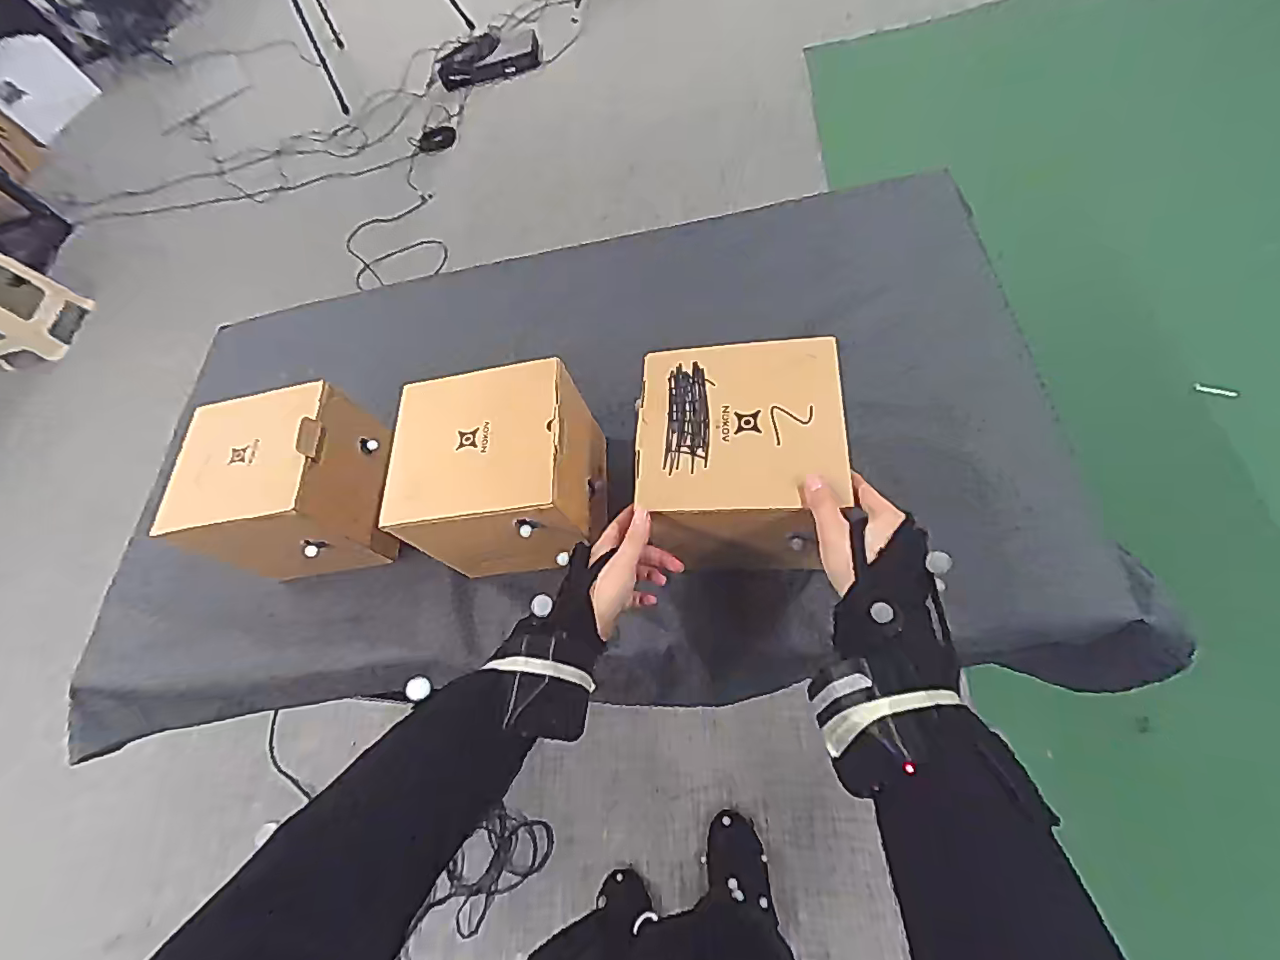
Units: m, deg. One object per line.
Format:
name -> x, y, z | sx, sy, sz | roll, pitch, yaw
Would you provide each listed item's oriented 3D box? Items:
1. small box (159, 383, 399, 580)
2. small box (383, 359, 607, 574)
small box -> -0.407, 0.011, 0.658 | 0.179, 0.176, 0.168 | -11, 60, 10
small box -> -0.143, -0.004, 0.598 | 0.179, 0.176, 0.168 | -8, 62, 9
